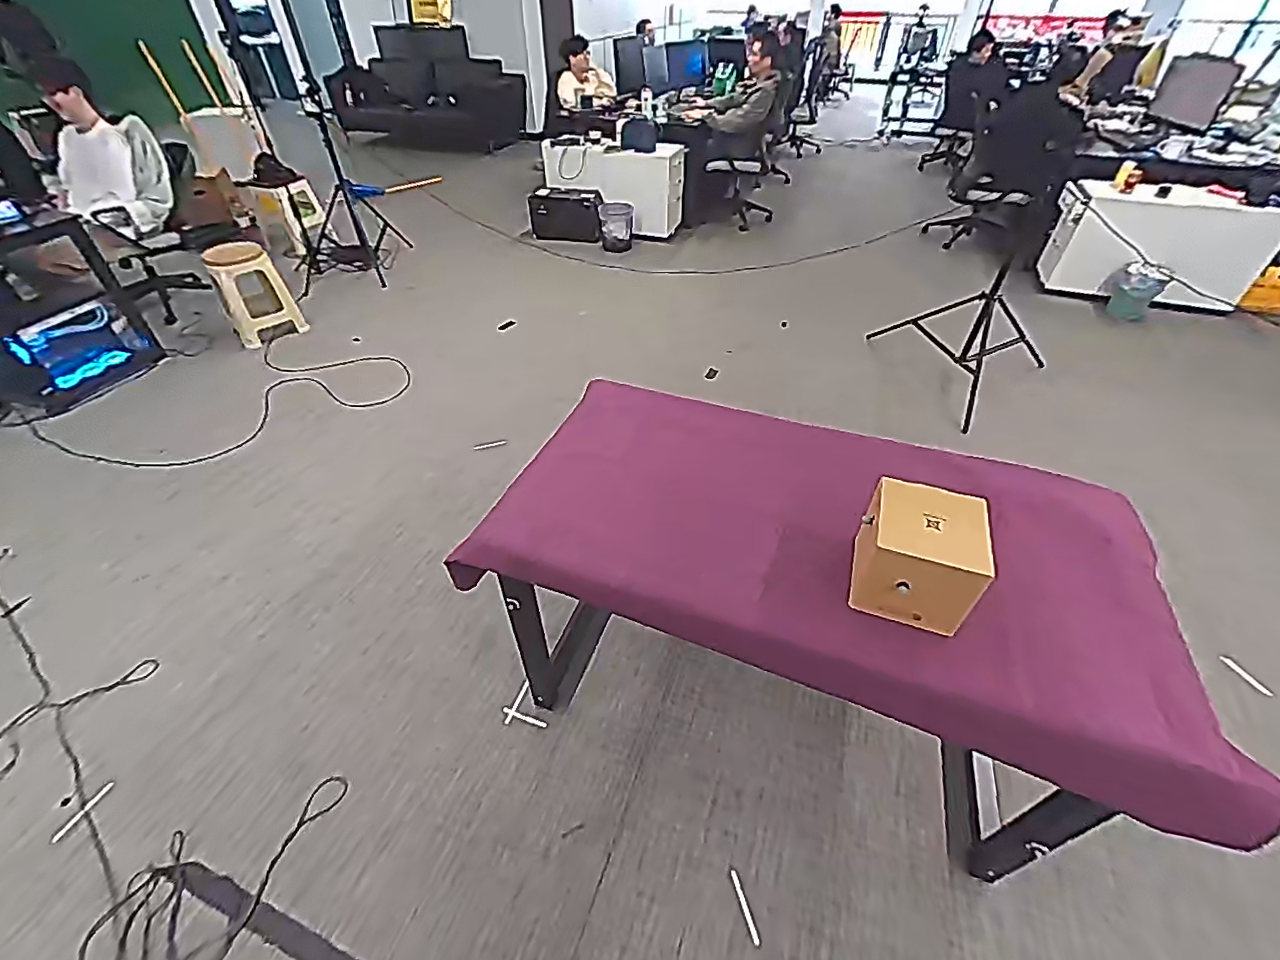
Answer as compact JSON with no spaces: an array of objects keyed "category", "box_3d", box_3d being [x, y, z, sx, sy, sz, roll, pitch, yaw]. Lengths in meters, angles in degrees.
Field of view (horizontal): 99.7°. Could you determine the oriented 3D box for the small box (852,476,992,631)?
[{"category":"small box","box_3d":[0.467,0.125,0.916,0.168,0.176,0.179,14,44,15]}]
